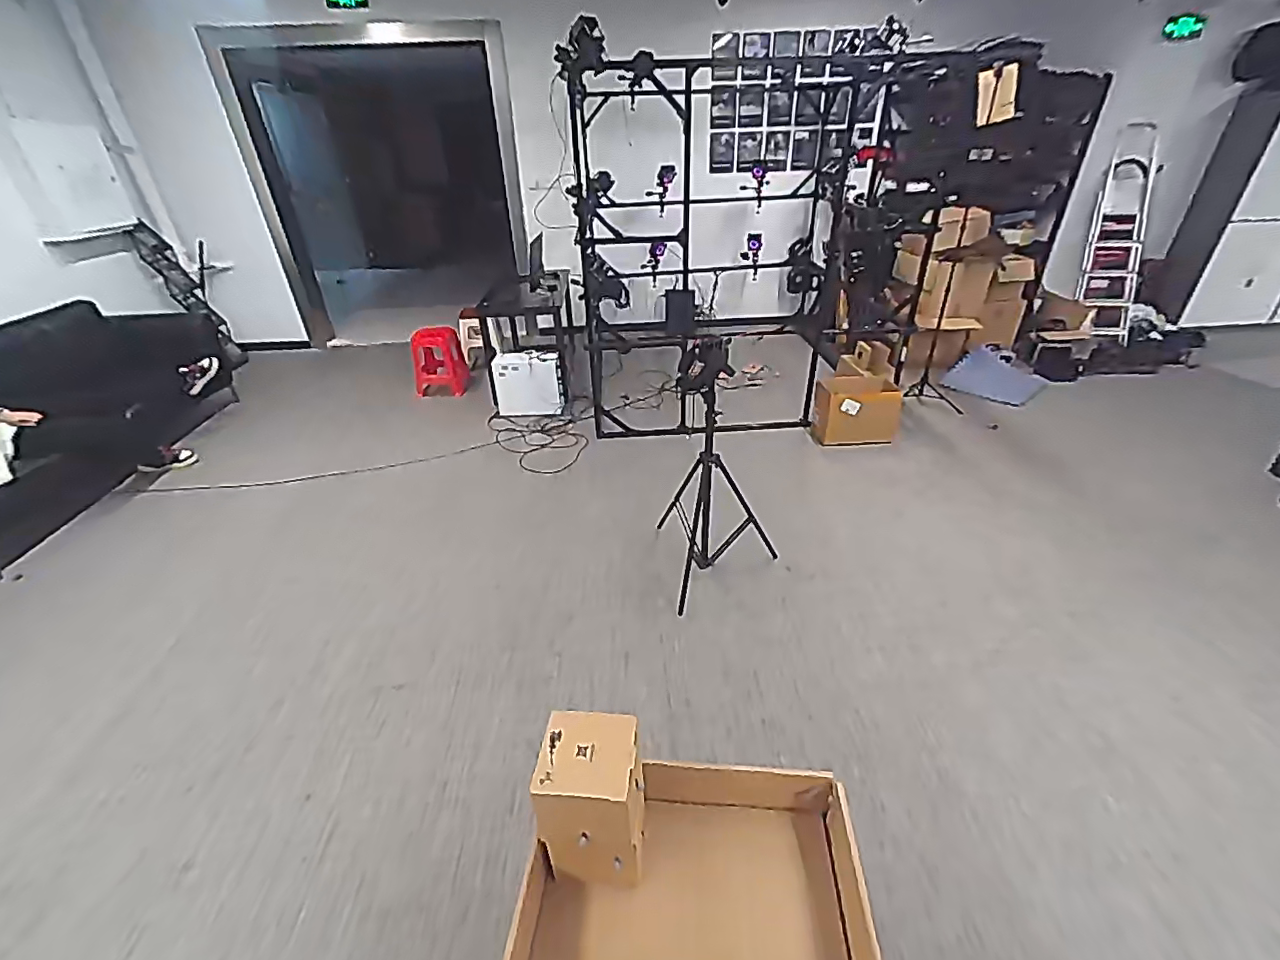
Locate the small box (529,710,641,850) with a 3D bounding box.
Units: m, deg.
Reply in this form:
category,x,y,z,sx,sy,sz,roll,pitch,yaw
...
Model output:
category,x,y,z,sx,sy,sz,roll,pitch,yaw
small box,-0.092,0.565,1.019,0.179,0.176,0.168,2,31,7
